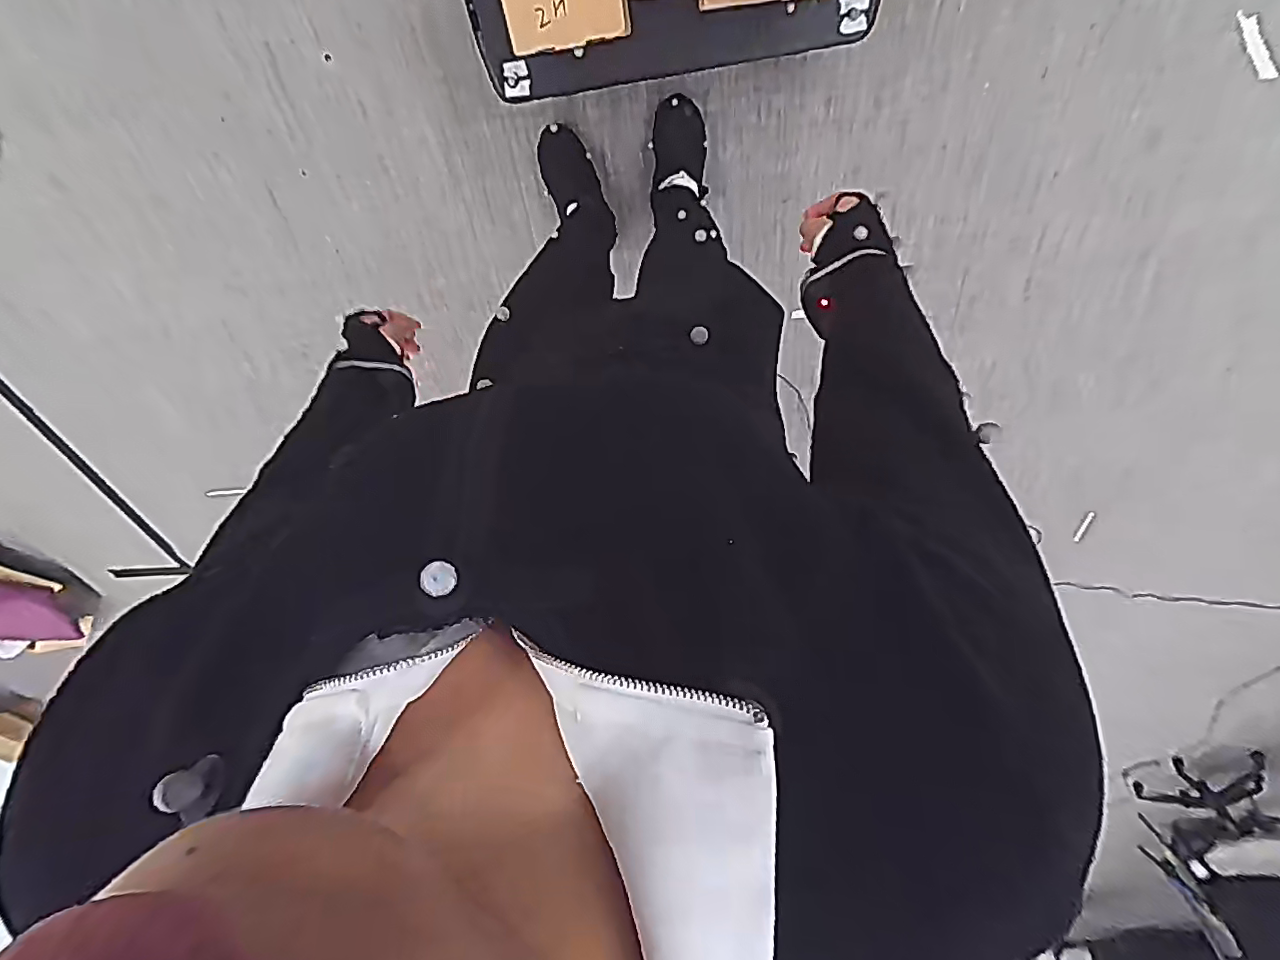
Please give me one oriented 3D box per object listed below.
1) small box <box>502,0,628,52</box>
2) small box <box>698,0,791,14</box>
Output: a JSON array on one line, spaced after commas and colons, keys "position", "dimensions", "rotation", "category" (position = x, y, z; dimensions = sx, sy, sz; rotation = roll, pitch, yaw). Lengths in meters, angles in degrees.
[{"position": [-0.110, -0.735, 0.771], "dimensions": [0.168, 0.176, 0.179], "rotation": [-5, 131, 7], "category": "small box"}, {"position": [0.167, -0.761, 0.742], "dimensions": [0.179, 0.176, 0.168], "rotation": [-5, 129, 6], "category": "small box"}]
